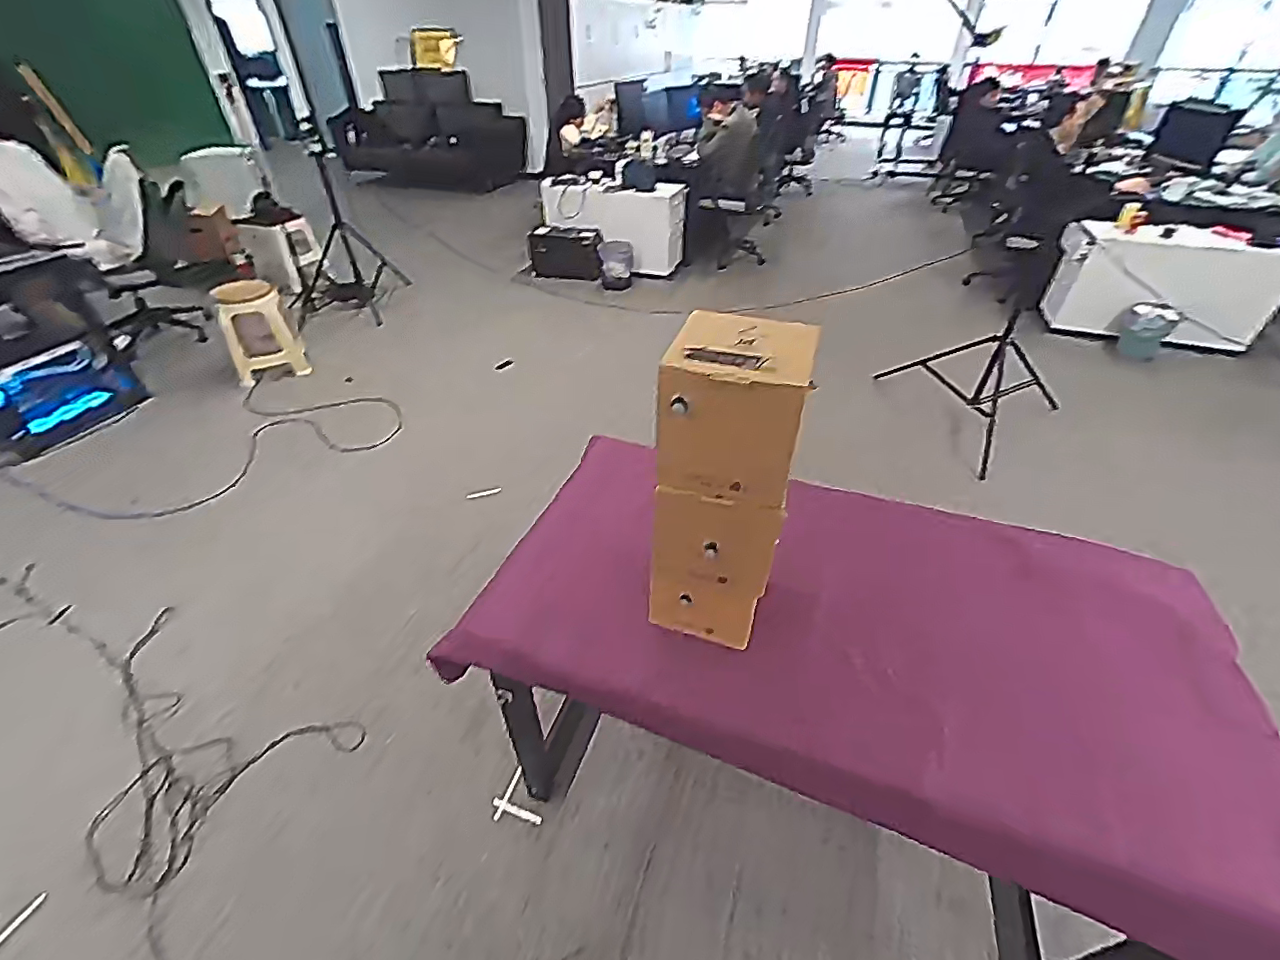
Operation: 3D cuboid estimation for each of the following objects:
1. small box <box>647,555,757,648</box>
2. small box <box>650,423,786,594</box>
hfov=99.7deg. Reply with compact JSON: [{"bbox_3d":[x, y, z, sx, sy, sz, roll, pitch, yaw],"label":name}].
[{"bbox_3d":[0.117,0.154,0.917,0.168,0.176,0.179,13,41,15],"label":"small box"},{"bbox_3d":[0.114,0.042,0.796,0.168,0.176,0.179,10,41,11],"label":"small box"}]
